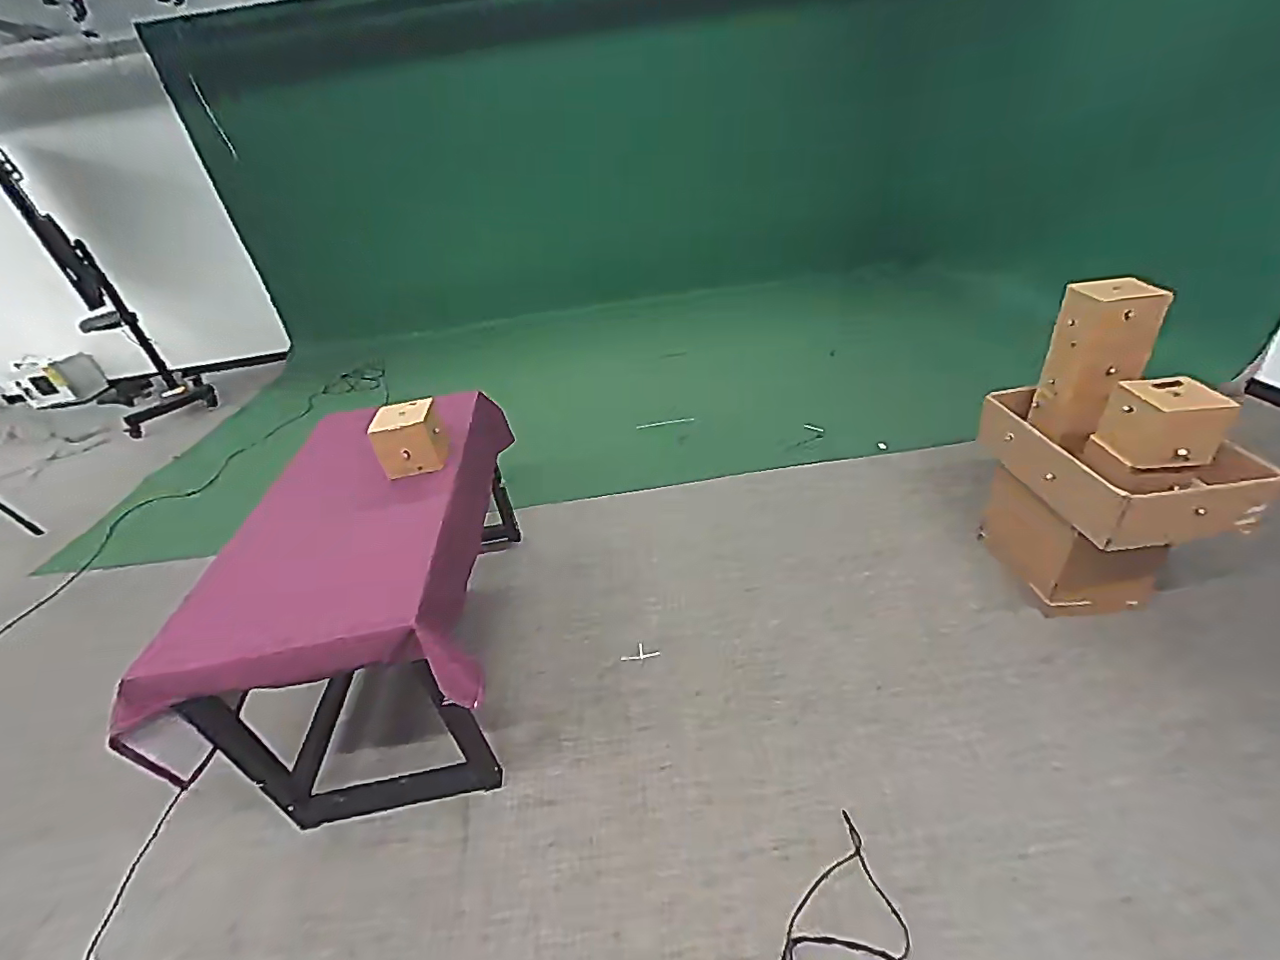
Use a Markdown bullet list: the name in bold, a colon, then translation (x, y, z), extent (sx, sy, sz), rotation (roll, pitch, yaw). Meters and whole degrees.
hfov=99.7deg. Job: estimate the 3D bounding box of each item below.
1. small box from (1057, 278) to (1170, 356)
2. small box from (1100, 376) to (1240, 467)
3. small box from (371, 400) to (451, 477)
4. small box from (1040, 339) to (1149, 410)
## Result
- **small box**: translation (1.345, -0.465, 1.556), extent (0.179, 0.176, 0.168), rotation (-4, 35, 7)
- **small box**: translation (1.339, -0.149, 1.386), extent (0.168, 0.176, 0.179), rotation (-4, 34, 7)
- **small box**: translation (-0.701, -0.122, 1.677), extent (0.168, 0.176, 0.179), rotation (-11, 34, -3)
- **small box**: translation (1.369, -0.328, 1.645), extent (0.179, 0.176, 0.168), rotation (-5, 34, 7)
